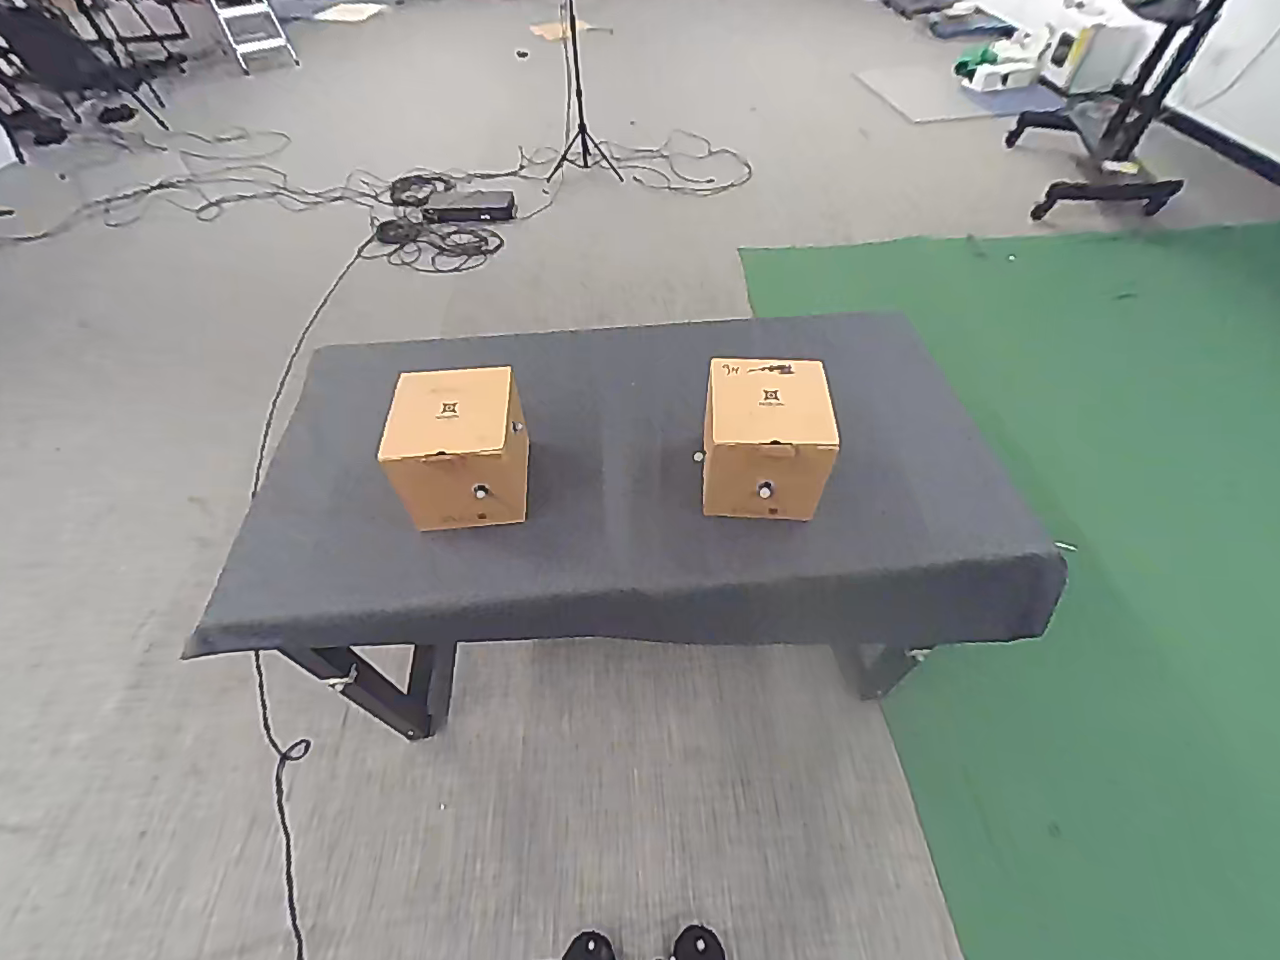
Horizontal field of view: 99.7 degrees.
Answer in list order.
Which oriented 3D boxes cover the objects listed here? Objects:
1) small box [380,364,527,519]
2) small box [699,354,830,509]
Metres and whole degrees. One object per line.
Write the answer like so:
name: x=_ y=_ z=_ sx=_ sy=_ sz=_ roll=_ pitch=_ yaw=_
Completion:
small box: x=-0.270 y=-0.052 z=0.828 sx=0.168 sy=0.176 sz=0.179 roll=-5 pitch=51 yaw=-4
small box: x=0.178 y=-0.071 z=0.824 sx=0.168 sy=0.176 sz=0.179 roll=2 pitch=53 yaw=4
